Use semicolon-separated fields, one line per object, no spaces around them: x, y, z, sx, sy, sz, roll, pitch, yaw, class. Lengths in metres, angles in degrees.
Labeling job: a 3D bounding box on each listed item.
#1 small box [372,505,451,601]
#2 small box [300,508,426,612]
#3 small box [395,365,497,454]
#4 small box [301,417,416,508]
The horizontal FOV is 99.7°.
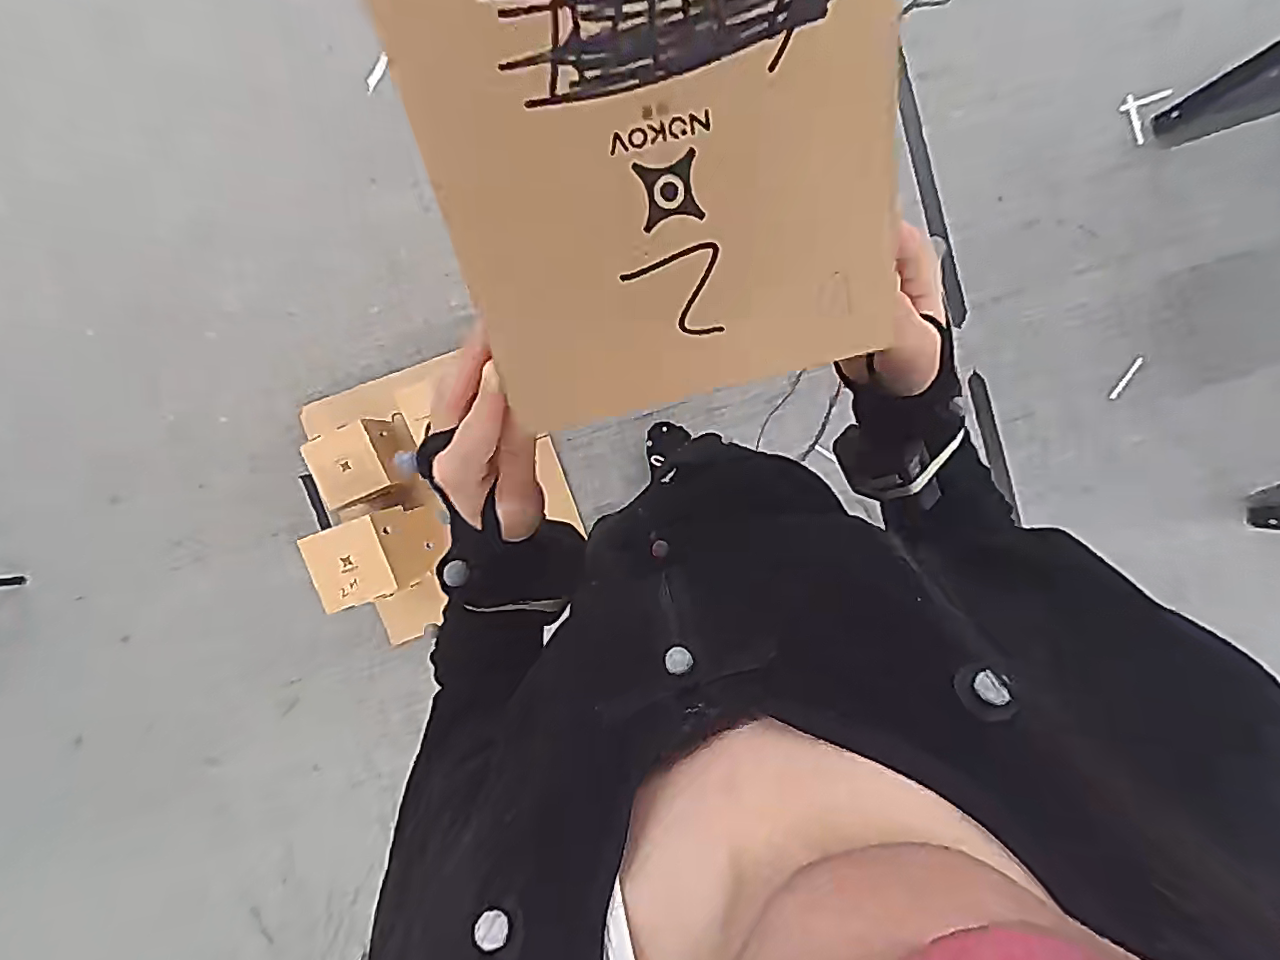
-0.612;0.180;1.388;0.168;0.176;0.179;-24;95;-1;small box
-0.614;0.169;1.221;0.168;0.176;0.179;-20;94;0;small box
-0.477;-0.175;1.369;0.179;0.176;0.168;-23;94;0;small box
-0.705;-0.047;1.372;0.168;0.176;0.179;-24;95;1;small box
